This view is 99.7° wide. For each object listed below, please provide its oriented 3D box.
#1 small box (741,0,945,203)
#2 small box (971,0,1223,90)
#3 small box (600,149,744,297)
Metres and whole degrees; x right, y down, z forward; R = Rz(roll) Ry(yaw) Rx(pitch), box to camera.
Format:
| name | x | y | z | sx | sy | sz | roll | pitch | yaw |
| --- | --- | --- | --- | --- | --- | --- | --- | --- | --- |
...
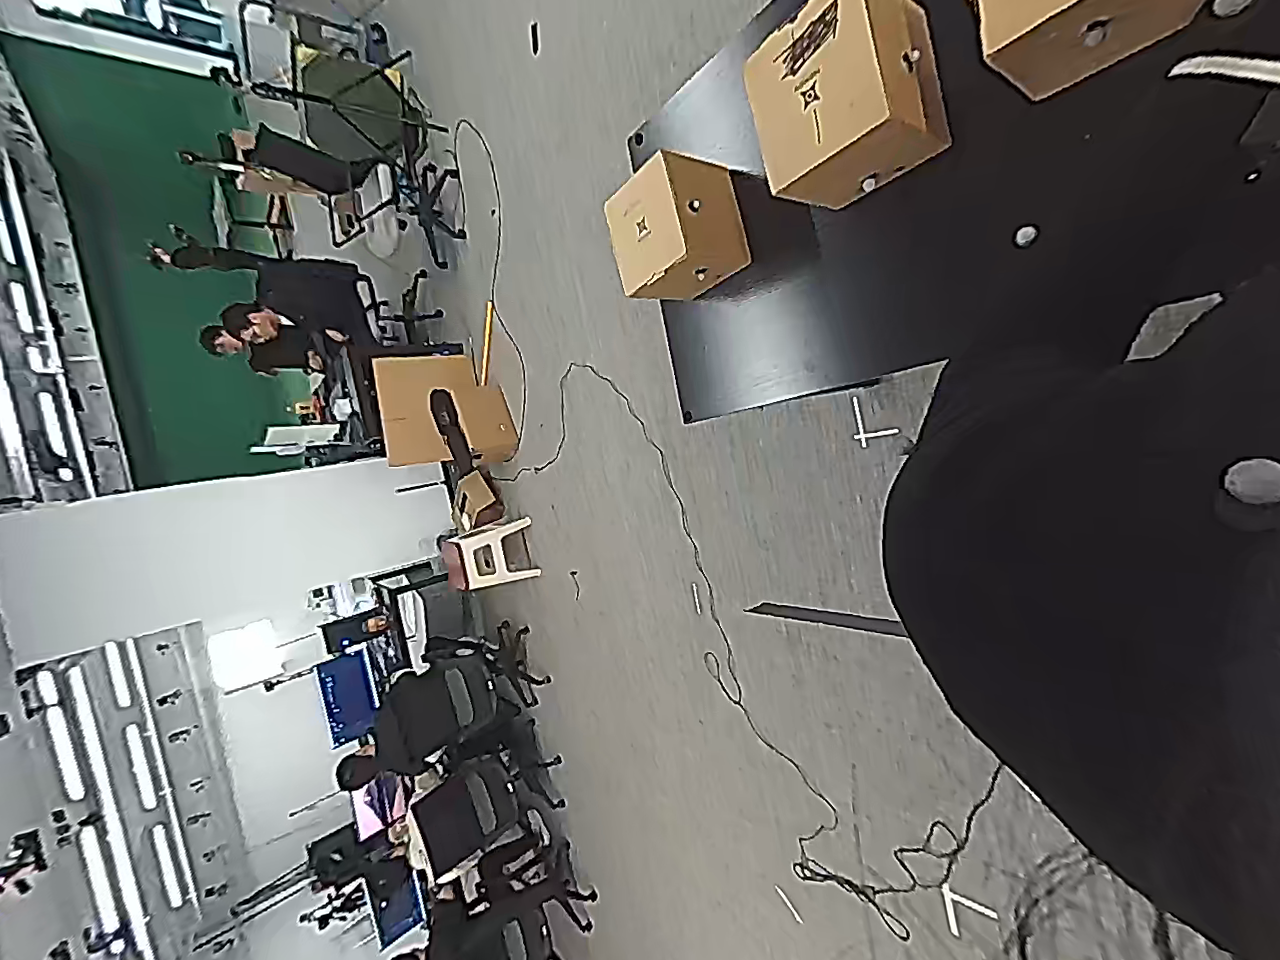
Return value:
| name | x | y | z | sx | sy | sz | roll | pitch | yaw |
| --- | --- | --- | --- | --- | --- | --- | --- | --- | --- |
| small box | 0.259 | -0.483 | 0.689 | 0.168 | 0.176 | 0.179 | -10 | 94 | 52 |
| small box | 0.421 | -0.498 | 0.486 | 0.179 | 0.176 | 0.168 | -5 | 97 | 52 |
| small box | 0.059 | -0.437 | 0.950 | 0.168 | 0.176 | 0.179 | -15 | 89 | 50 |
